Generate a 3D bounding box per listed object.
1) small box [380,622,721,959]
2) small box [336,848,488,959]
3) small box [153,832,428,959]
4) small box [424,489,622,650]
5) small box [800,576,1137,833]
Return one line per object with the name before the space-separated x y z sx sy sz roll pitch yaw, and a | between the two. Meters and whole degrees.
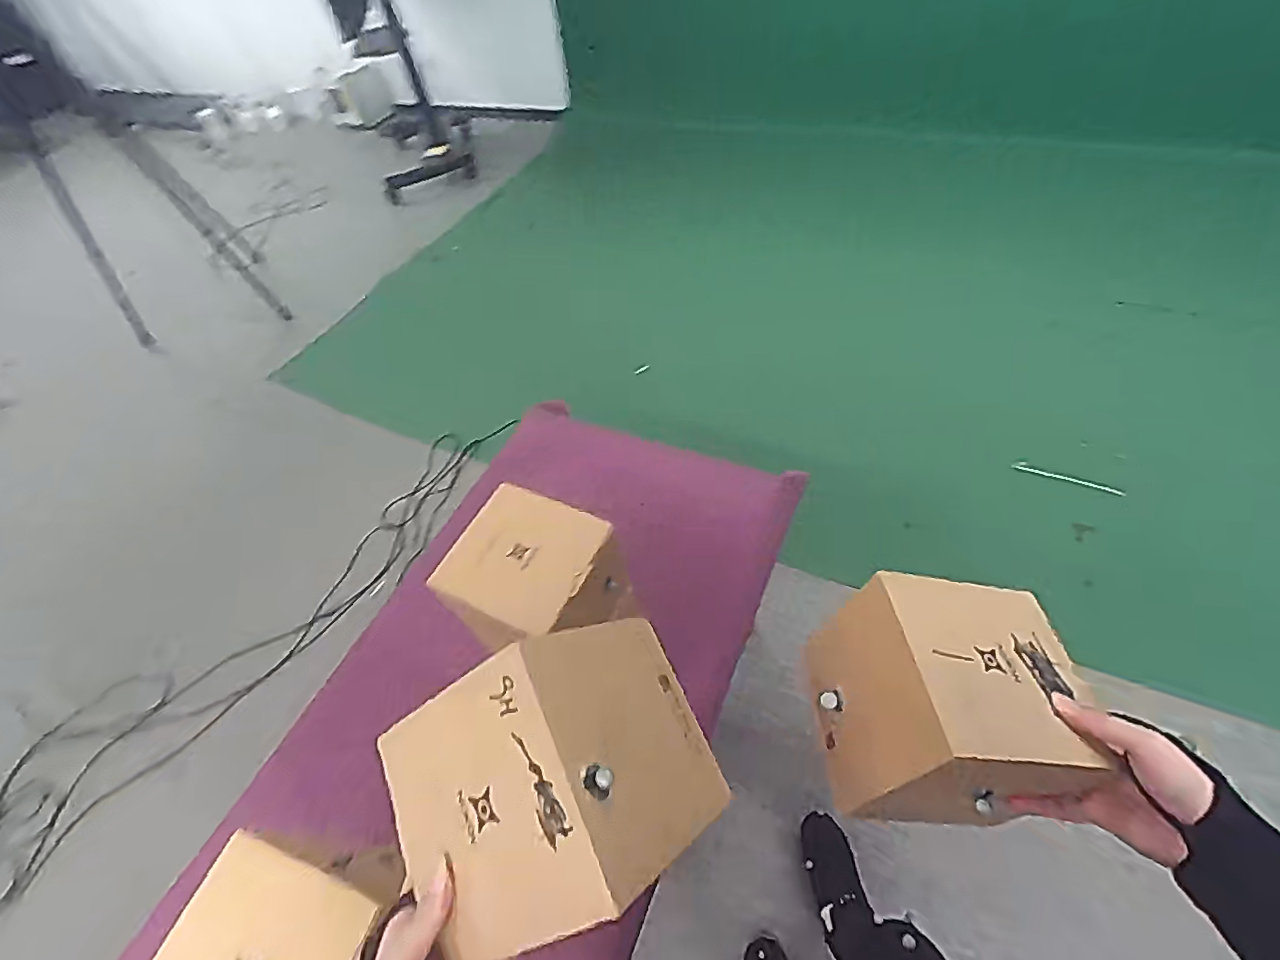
small box | -0.068 0.230 0.431 0.179 0.176 0.168 -38 65 23
small box | -0.299 0.566 0.635 0.179 0.176 0.168 13 56 18
small box | -0.323 0.464 0.510 0.179 0.176 0.168 11 55 17
small box | -0.141 0.144 0.726 0.179 0.176 0.168 18 57 22
small box | 0.280 0.216 0.511 0.179 0.176 0.168 10 43 -10
